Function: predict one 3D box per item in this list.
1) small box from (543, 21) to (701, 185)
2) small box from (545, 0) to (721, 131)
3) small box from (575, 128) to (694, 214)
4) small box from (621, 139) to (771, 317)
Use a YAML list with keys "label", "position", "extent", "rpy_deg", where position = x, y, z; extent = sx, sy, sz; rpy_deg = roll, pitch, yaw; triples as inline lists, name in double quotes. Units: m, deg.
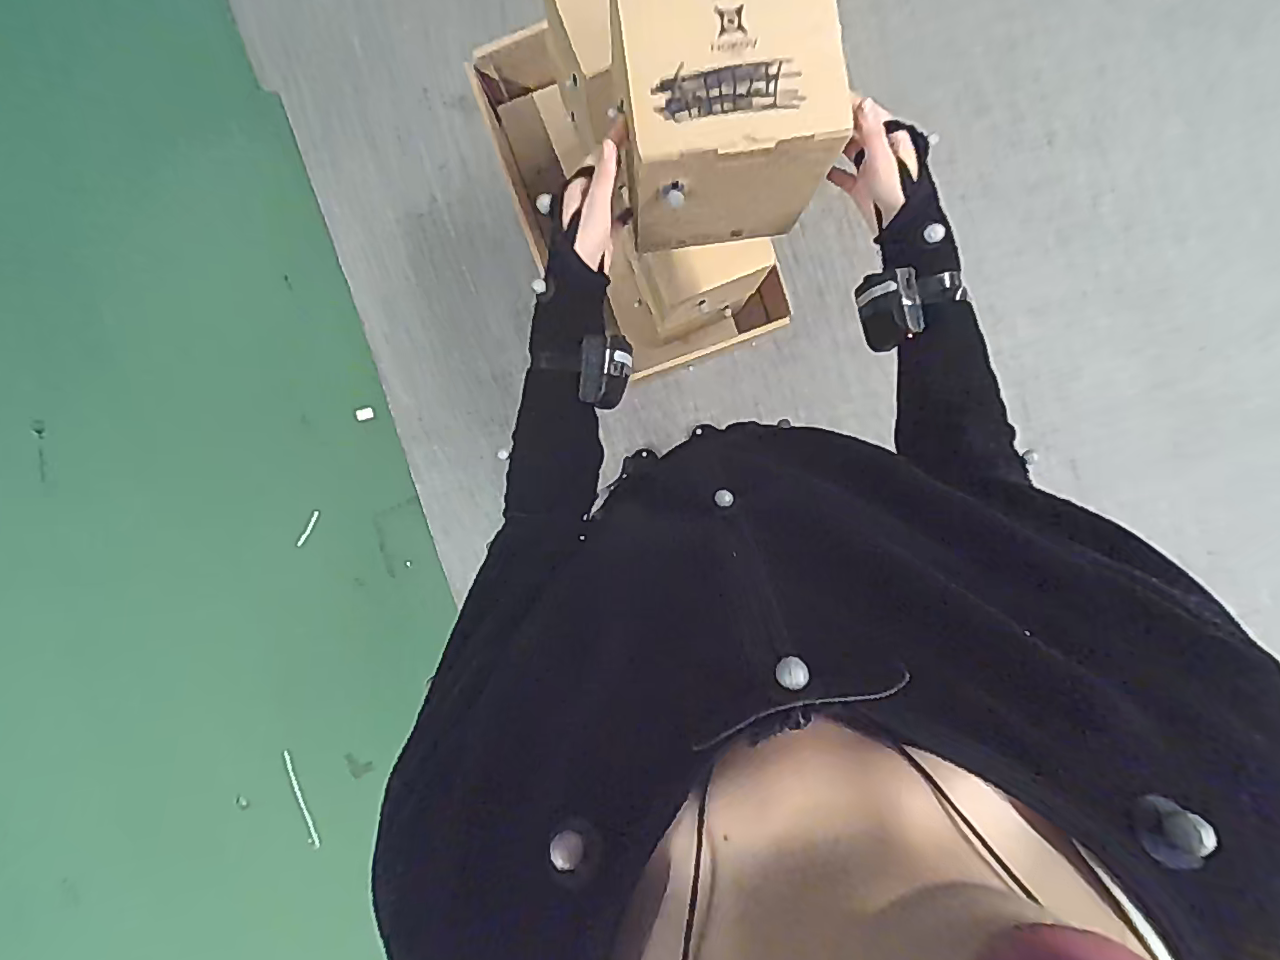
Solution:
- label: "small box"
  position: [-0.021, -0.576, 0.809]
  extent: [0.168, 0.176, 0.179]
  rpy_deg: [-24, 96, 4]
- label: "small box"
  position: [-0.016, -0.557, 0.647]
  extent: [0.168, 0.176, 0.179]
  rpy_deg: [-21, 97, 3]
- label: "small box"
  position: [-0.014, -0.605, 0.970]
  extent: [0.168, 0.176, 0.179]
  rpy_deg: [-23, 98, 3]
- label: "small box"
  position: [0.081, -0.363, 0.823]
  extent: [0.168, 0.176, 0.179]
  rpy_deg: [-21, 93, 3]
